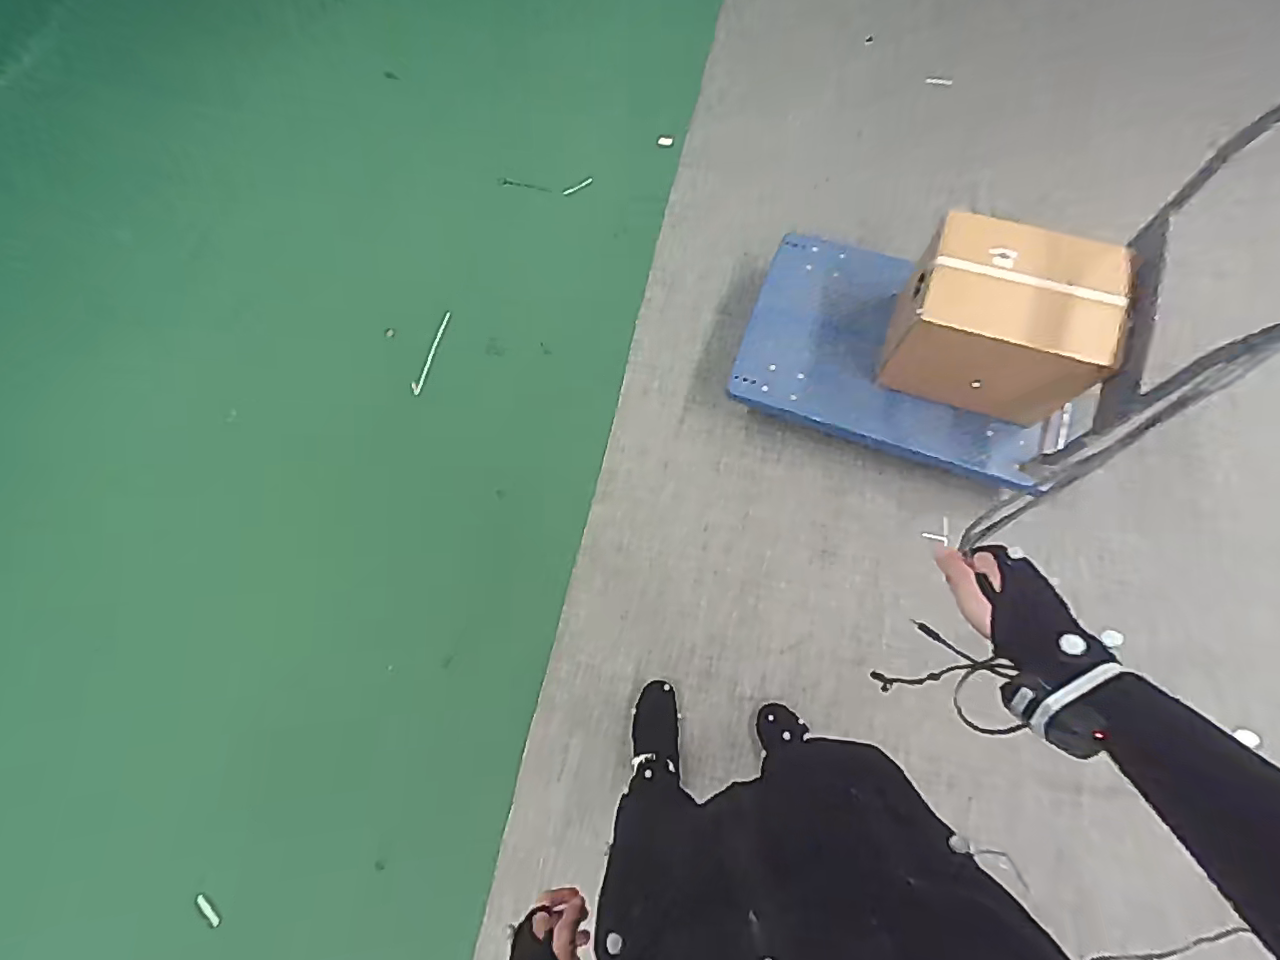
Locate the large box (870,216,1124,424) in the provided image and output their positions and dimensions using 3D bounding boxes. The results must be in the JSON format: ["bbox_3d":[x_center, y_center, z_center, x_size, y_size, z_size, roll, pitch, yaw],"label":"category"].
[{"bbox_3d":[0.842,-0.377,1.323,0.408,0.320,0.320,18,74,12],"label":"large box"}]
